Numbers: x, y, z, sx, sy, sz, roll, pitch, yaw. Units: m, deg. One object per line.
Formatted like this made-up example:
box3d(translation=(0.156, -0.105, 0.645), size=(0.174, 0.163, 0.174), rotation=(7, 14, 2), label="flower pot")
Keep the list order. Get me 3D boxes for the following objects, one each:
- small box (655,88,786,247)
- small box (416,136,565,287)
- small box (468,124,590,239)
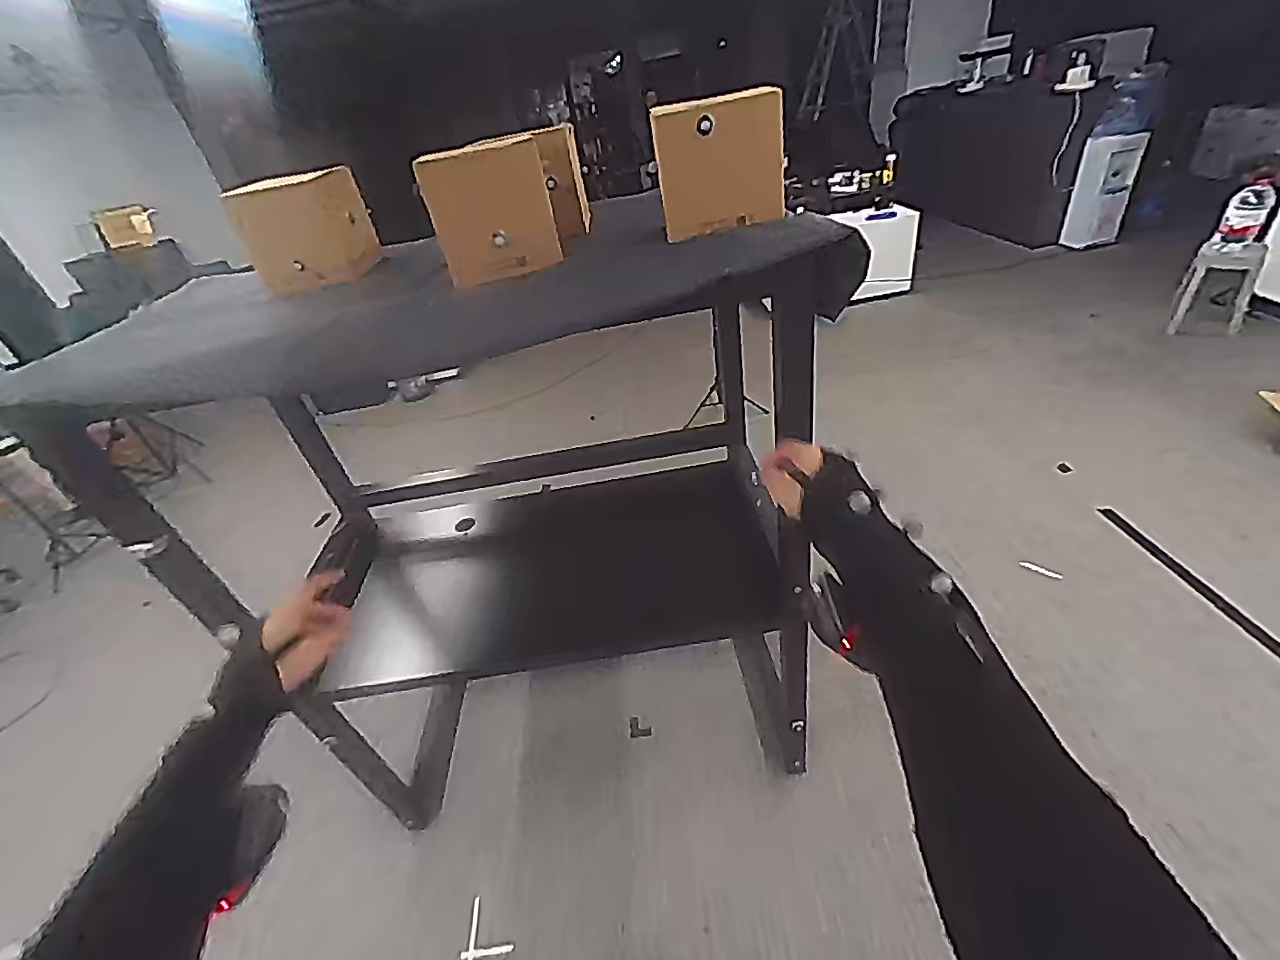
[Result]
box3d(translation=(0.114, -0.454, 0.791), size=(0.168, 0.176, 0.179), rotation=(-8, 35, 6), label="small box")
box3d(translation=(-0.218, -0.409, 0.823), size=(0.168, 0.176, 0.179), rotation=(-15, 36, -5), label="small box")
box3d(translation=(-0.192, -0.540, 0.997), size=(0.179, 0.176, 0.168), rotation=(-9, 35, 3), label="small box")
